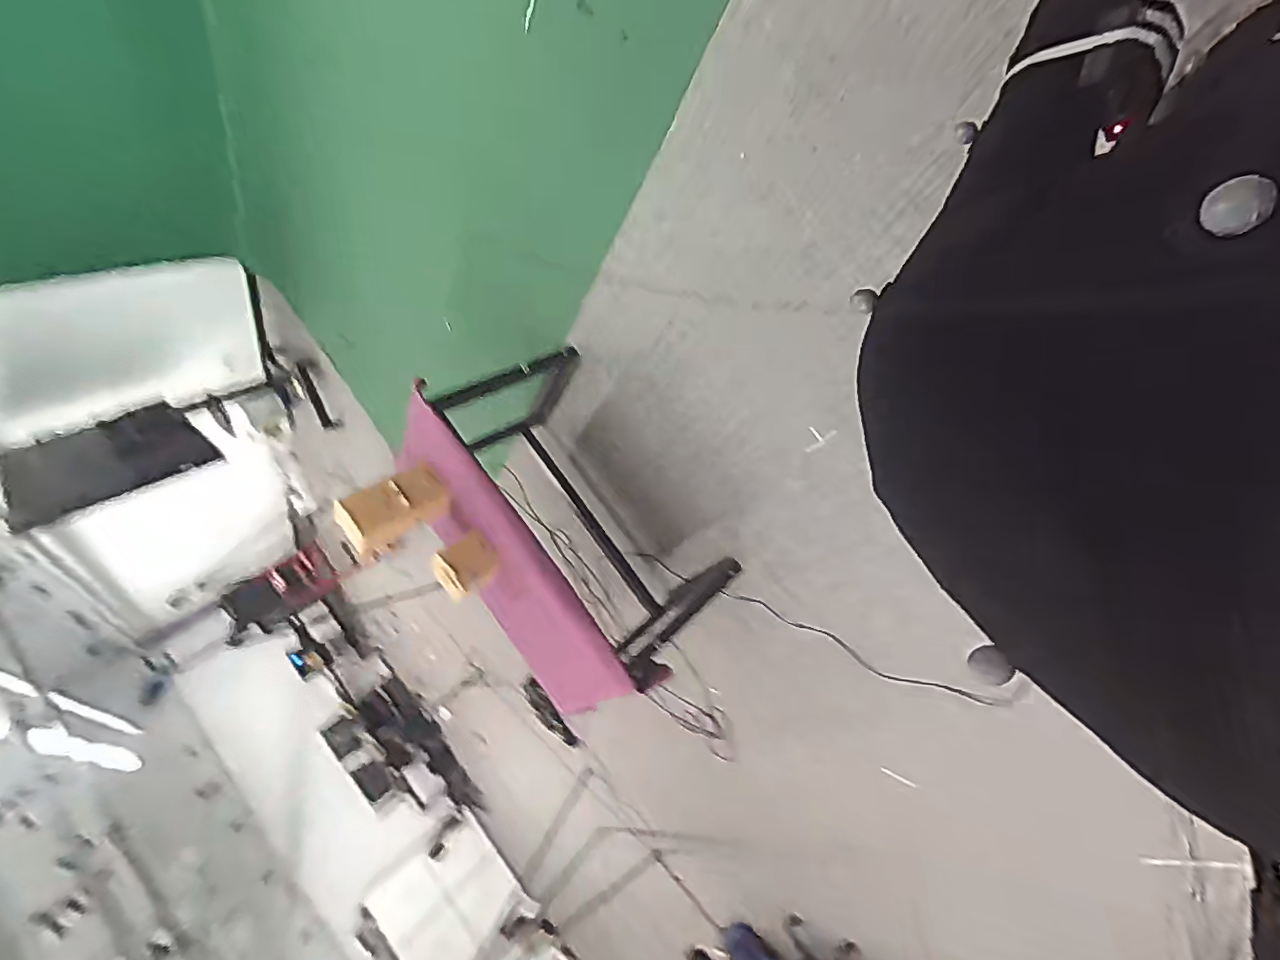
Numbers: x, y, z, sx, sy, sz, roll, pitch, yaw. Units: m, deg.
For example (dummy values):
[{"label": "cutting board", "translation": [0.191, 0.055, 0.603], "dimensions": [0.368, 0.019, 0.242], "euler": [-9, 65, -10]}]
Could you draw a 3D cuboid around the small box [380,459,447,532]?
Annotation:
[{"label": "small box", "translation": [-0.830, 0.056, 1.975], "dimensions": [0.168, 0.176, 0.179], "euler": [50, 141, 7]}]

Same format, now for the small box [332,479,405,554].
[{"label": "small box", "translation": [-0.940, 0.125, 1.876], "dimensions": [0.168, 0.176, 0.179], "euler": [51, 140, 7]}]
